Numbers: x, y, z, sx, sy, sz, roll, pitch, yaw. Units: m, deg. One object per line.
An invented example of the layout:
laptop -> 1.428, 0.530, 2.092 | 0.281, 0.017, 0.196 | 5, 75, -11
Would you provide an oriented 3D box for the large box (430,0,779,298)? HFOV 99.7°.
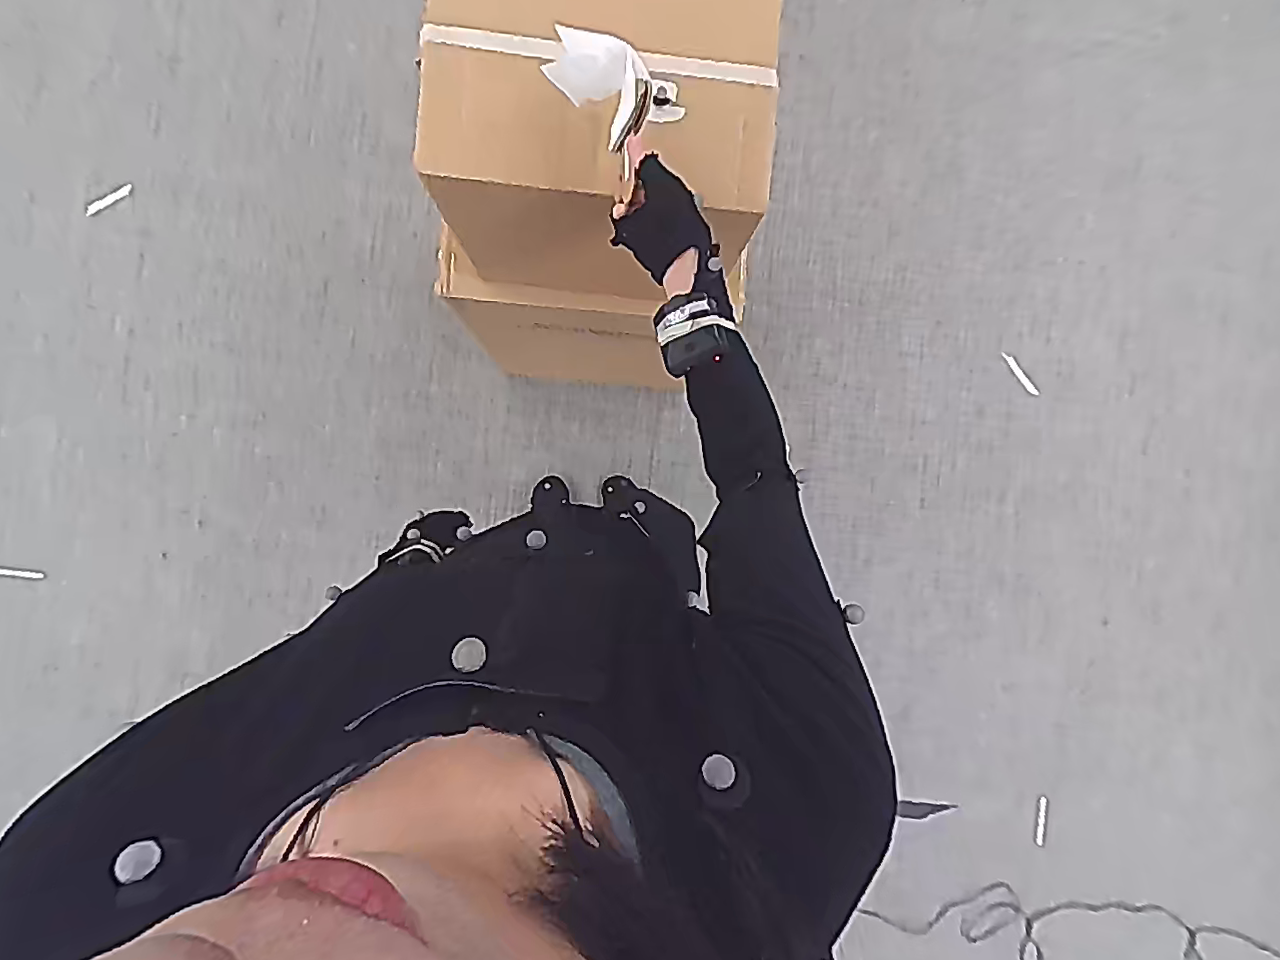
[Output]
large box -> -0.050, -0.484, 0.787 | 0.408, 0.320, 0.320 | 5, 89, -5
